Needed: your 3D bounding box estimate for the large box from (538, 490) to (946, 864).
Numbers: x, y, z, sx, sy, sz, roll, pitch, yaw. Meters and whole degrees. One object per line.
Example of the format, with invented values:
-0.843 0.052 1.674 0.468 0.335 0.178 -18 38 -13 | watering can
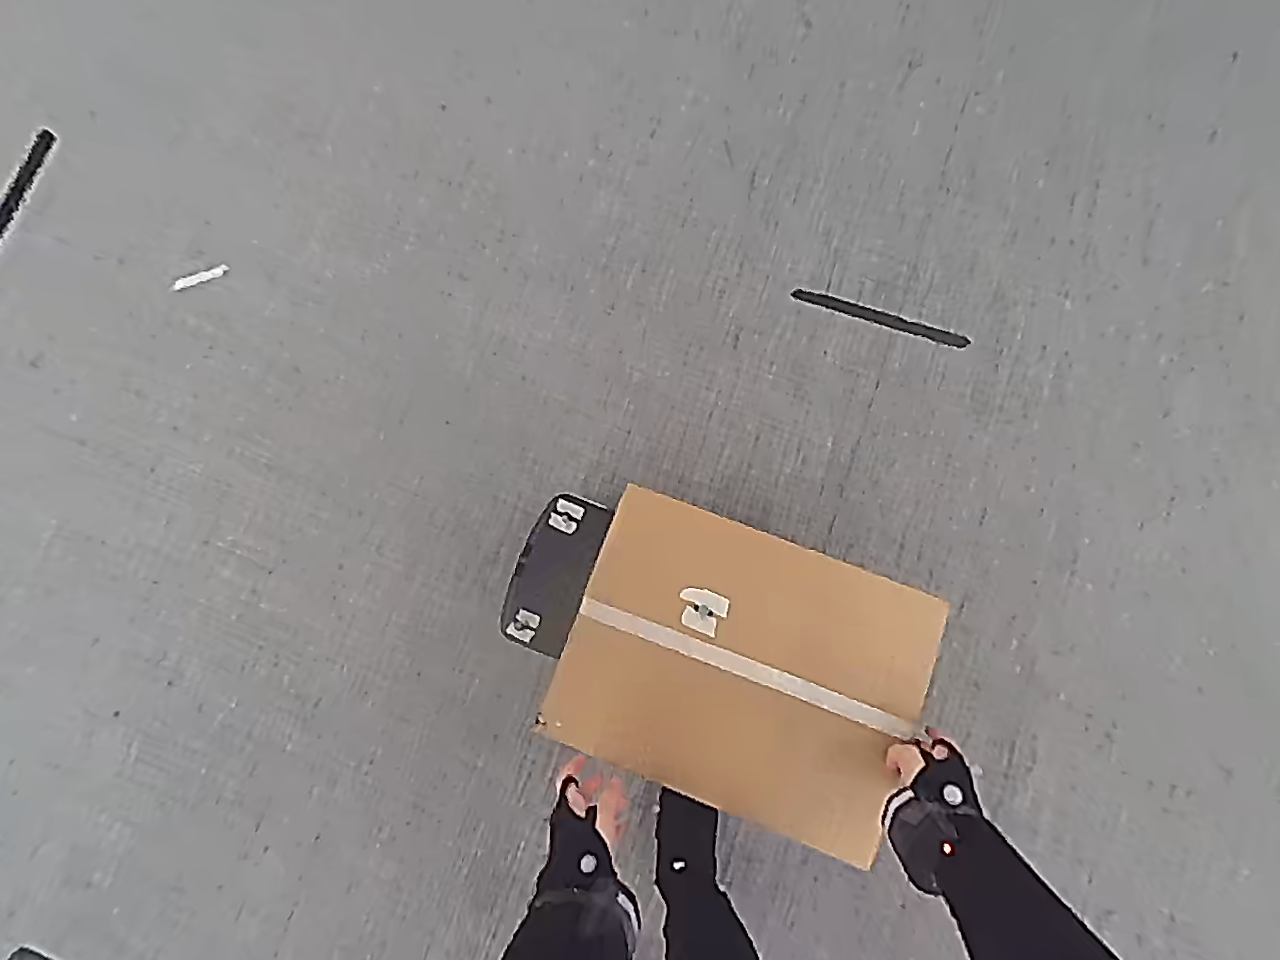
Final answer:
0.127 0.235 0.769 0.408 0.320 0.320 20 83 6 | large box
